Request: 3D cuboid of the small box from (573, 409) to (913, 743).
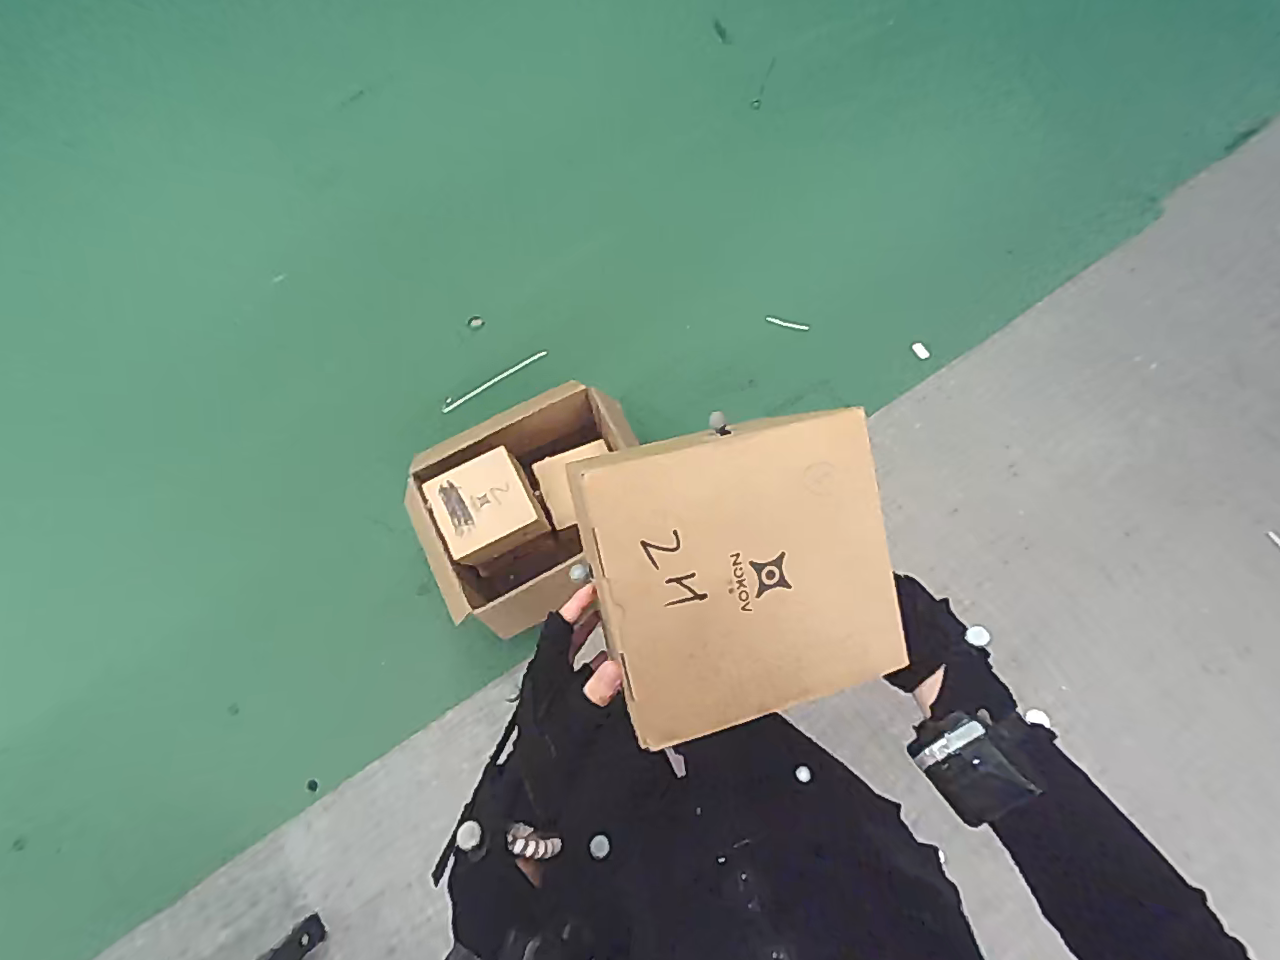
[{"bbox_3d":[0.057,0.048,0.394,0.179,0.176,0.168,-14,95,-9],"label":"small box"}]
